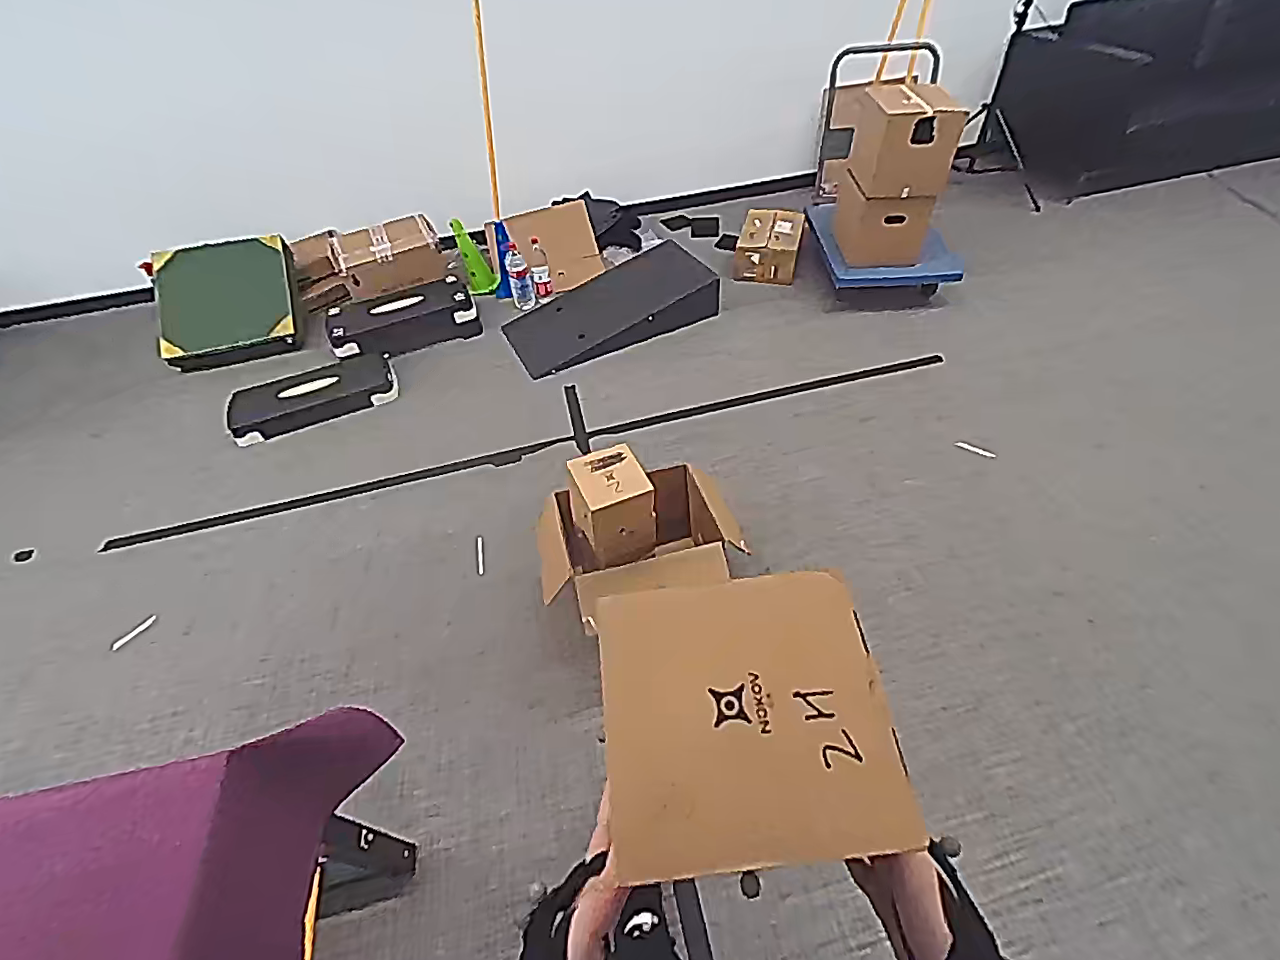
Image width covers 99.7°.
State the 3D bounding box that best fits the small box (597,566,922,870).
[{"bbox_3d":[0.068,0.181,0.405,0.179,0.176,0.168,-7,58,0],"label":"small box"}]

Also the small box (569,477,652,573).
[{"bbox_3d":[-0.079,0.131,1.522,0.179,0.176,0.168,-28,54,-23],"label":"small box"}]
